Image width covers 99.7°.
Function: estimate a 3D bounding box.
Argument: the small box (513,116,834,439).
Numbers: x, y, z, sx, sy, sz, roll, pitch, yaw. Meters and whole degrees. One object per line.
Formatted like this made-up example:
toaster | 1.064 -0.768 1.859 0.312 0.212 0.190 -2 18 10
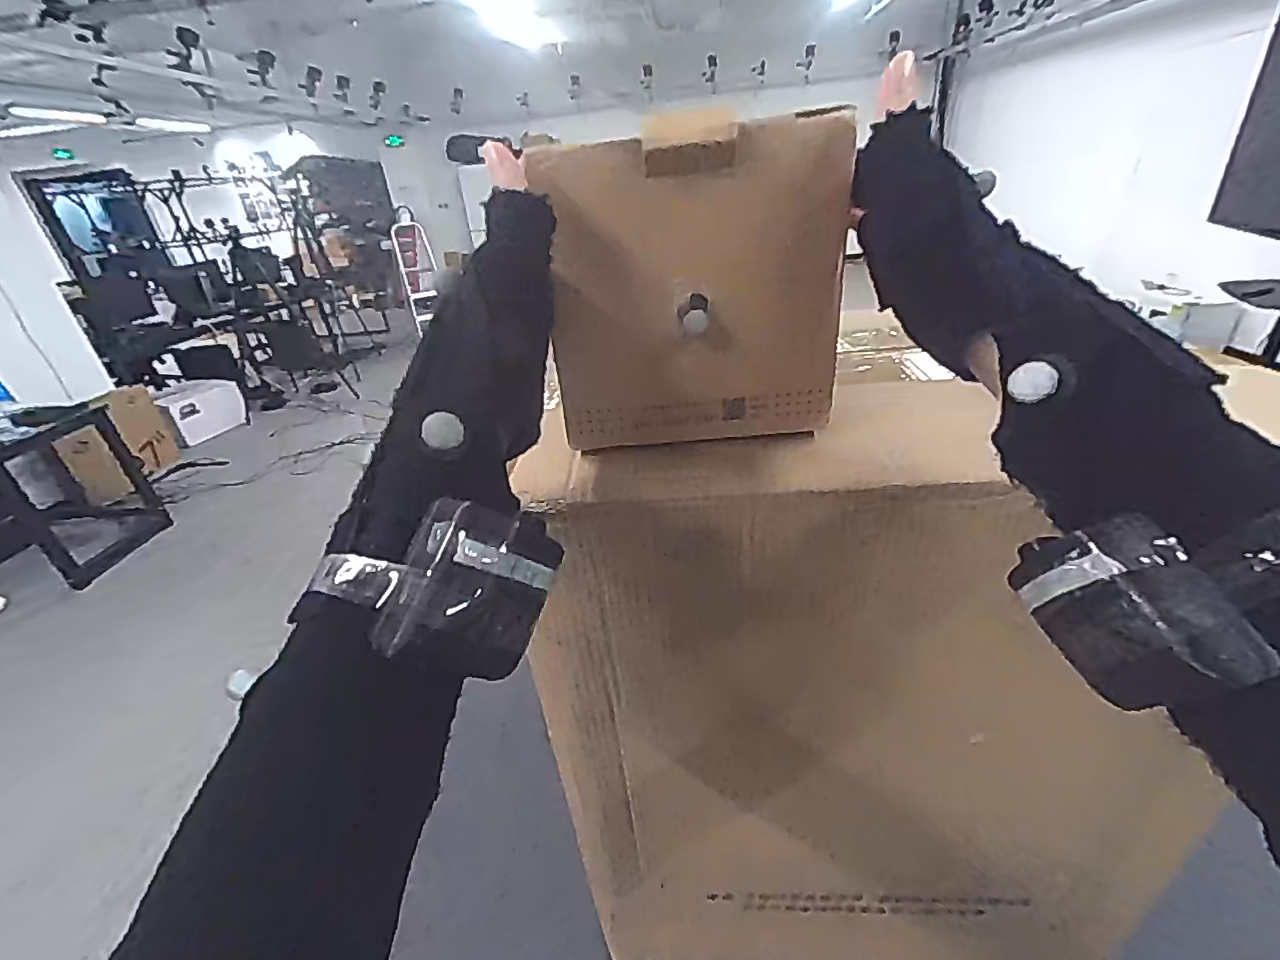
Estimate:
small box | 0.027 -0.135 0.377 0.168 0.176 0.179 -6 30 4
